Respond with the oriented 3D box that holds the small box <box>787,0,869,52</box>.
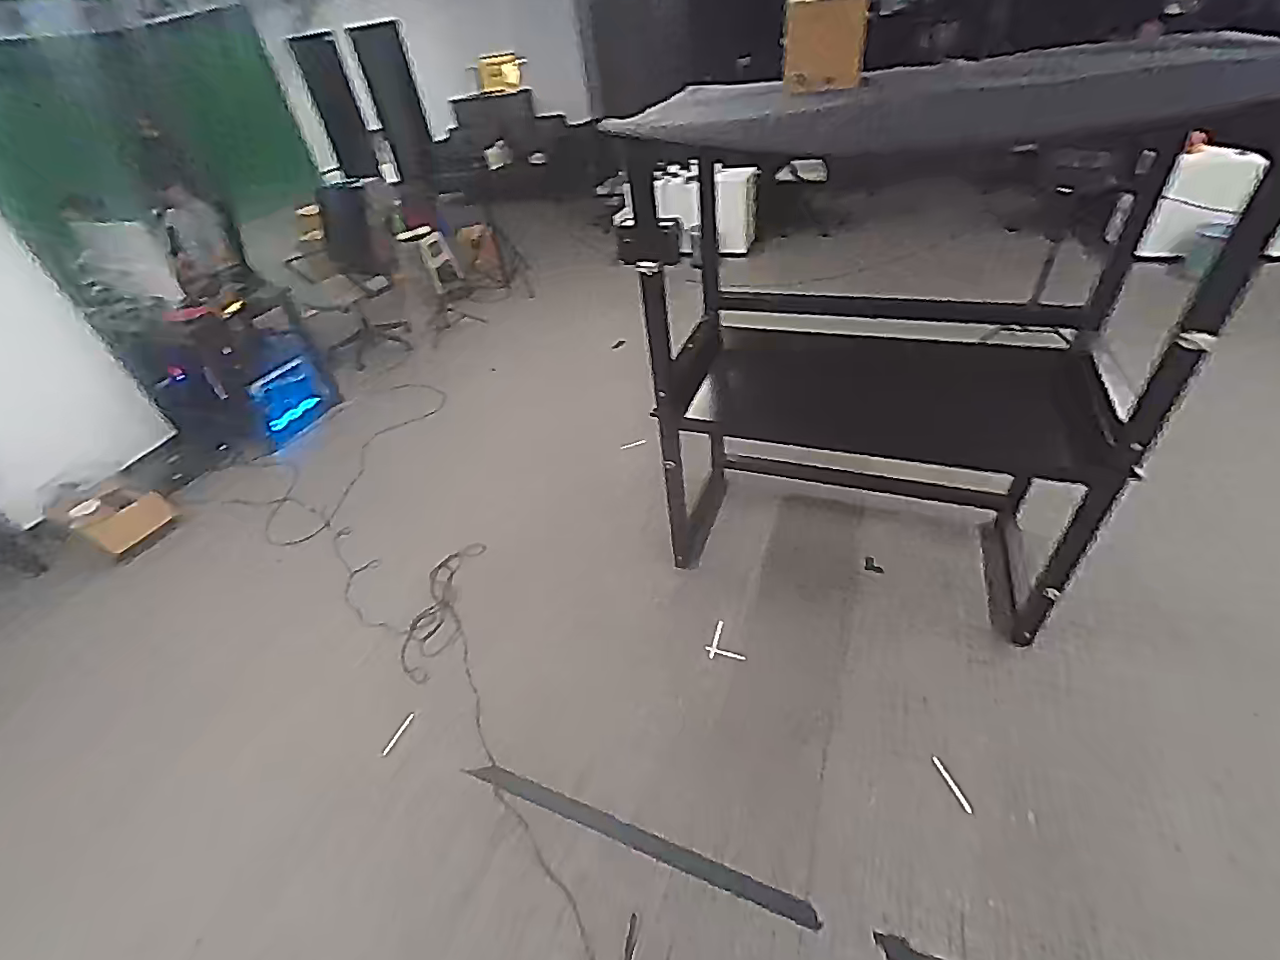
[{"bbox_3d":[0.426,-1.077,1.212,0.168,0.176,0.179,8,43,17],"label":"small box"}]
